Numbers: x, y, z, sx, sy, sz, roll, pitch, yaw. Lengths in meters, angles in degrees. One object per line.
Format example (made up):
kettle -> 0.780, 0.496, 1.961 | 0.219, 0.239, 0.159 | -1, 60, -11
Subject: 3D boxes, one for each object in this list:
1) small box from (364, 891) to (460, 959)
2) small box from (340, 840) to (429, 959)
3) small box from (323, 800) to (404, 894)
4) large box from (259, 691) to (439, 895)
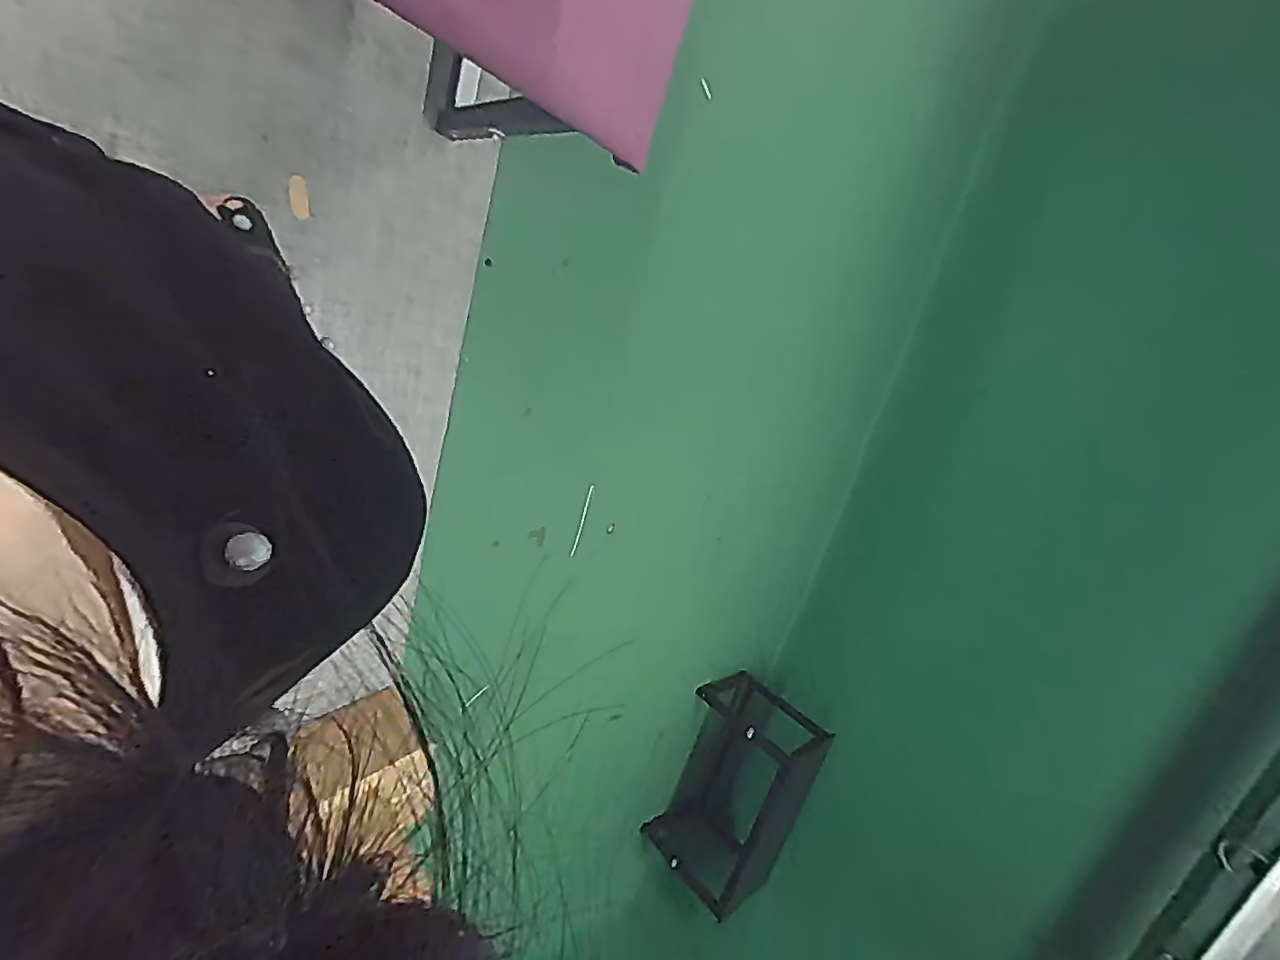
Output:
small box -> -0.553, 1.166, 1.311 | 0.179, 0.176, 0.168 | -15, 122, -39
small box -> -0.666, 1.106, 1.415 | 0.179, 0.176, 0.168 | -17, 123, -40
small box -> -0.773, 1.044, 1.522 | 0.168, 0.176, 0.179 | -16, 122, -40
large box -> -0.908, 0.960, 1.711 | 0.408, 0.320, 0.320 | -18, 124, -41
